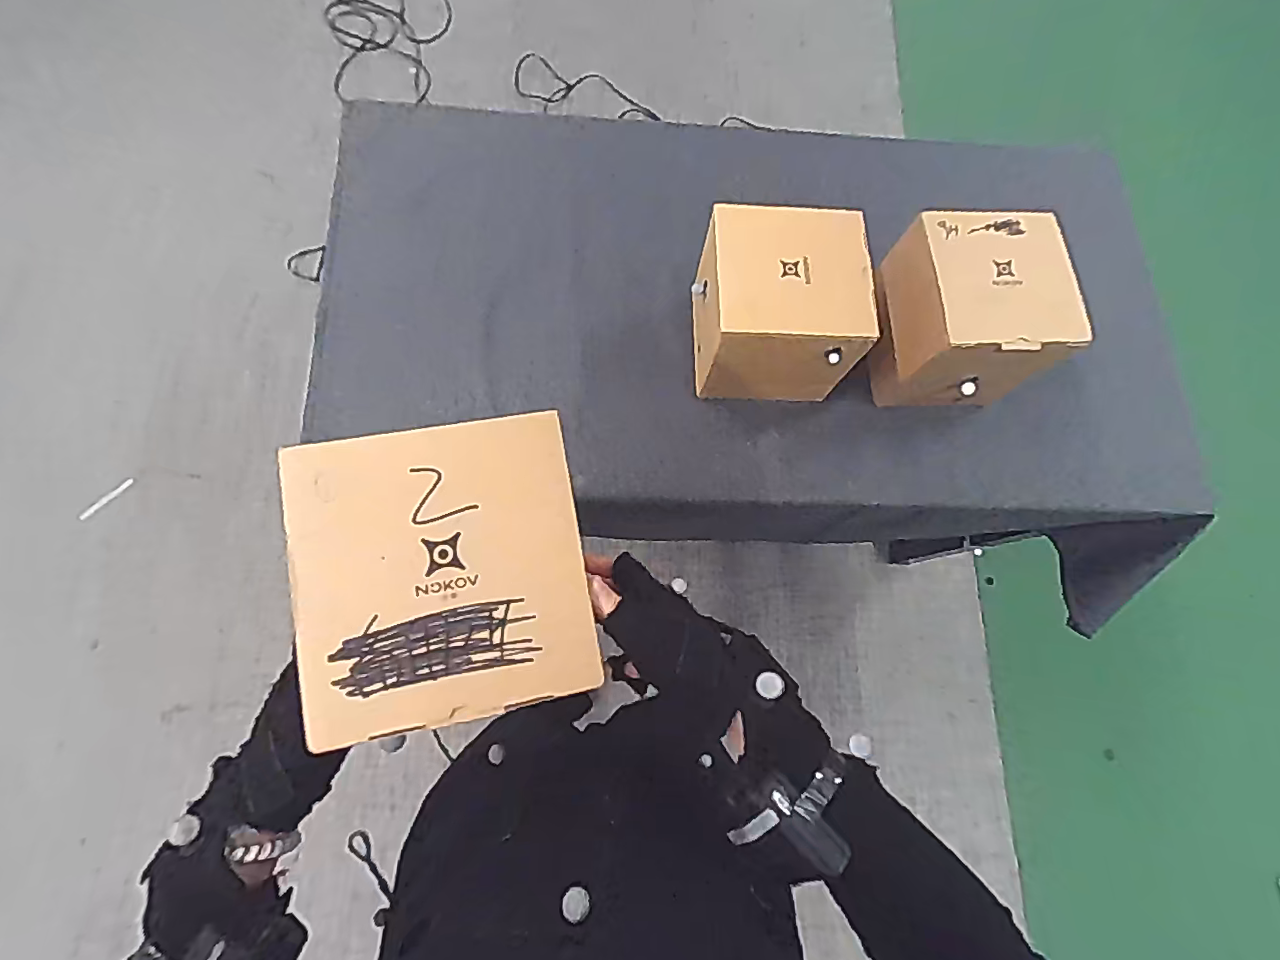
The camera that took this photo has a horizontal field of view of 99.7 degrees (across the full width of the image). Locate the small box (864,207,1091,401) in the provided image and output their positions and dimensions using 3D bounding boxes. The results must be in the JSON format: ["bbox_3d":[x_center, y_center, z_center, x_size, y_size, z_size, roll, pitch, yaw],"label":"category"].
[{"bbox_3d":[0.406,-0.209,0.683,0.168,0.176,0.179,0,75,-5],"label":"small box"}]
